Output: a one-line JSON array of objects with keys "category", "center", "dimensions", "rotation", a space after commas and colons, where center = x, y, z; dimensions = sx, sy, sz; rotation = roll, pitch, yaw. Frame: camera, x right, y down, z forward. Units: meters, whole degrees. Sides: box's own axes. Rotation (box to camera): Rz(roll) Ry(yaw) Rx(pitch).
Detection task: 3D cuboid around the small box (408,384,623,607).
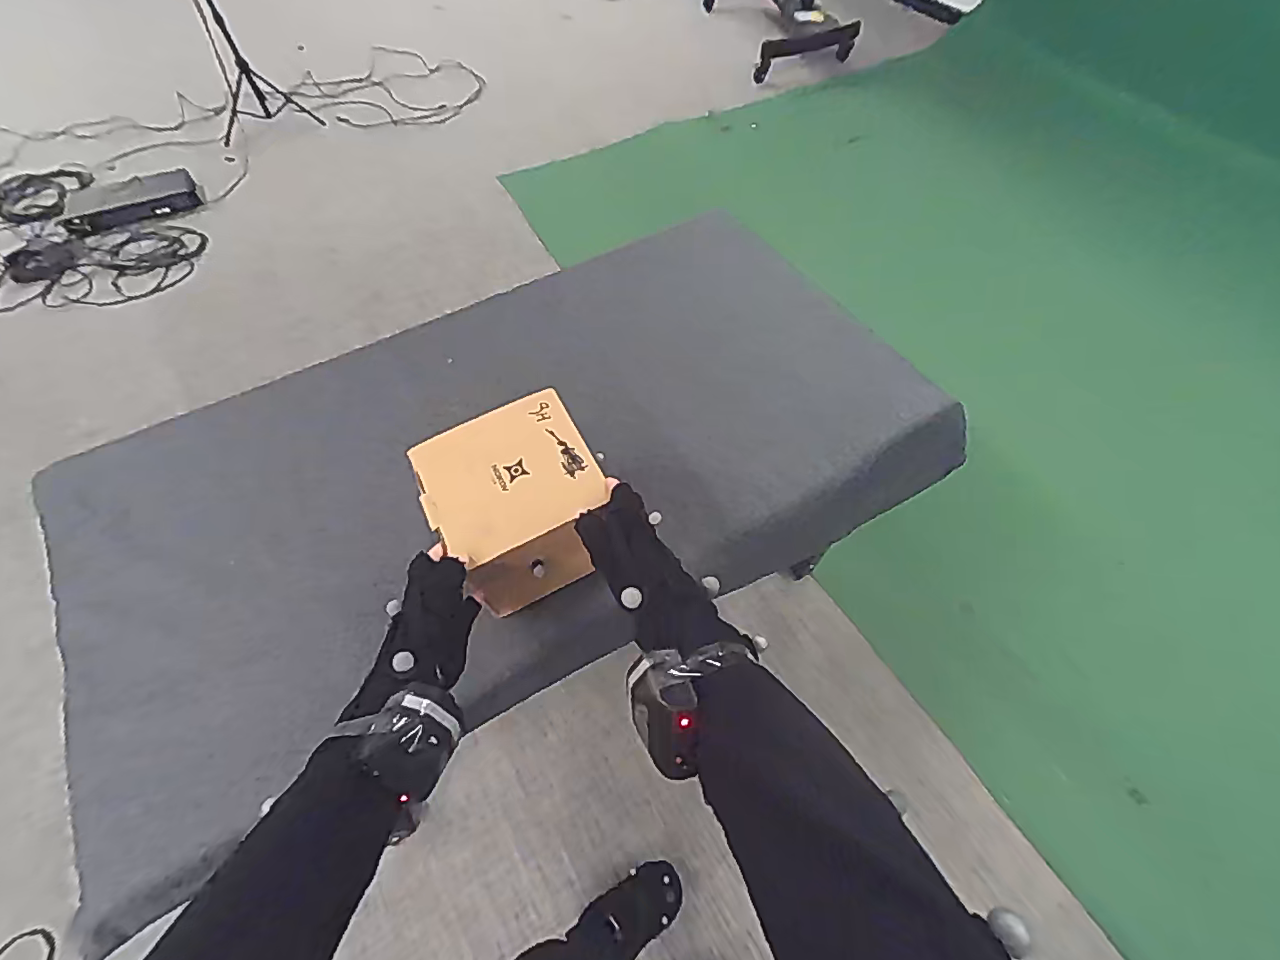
[{"category": "small box", "center": [-0.135, 0.027, 0.638], "dimensions": [0.179, 0.176, 0.168], "rotation": [-28, 65, -9]}]
